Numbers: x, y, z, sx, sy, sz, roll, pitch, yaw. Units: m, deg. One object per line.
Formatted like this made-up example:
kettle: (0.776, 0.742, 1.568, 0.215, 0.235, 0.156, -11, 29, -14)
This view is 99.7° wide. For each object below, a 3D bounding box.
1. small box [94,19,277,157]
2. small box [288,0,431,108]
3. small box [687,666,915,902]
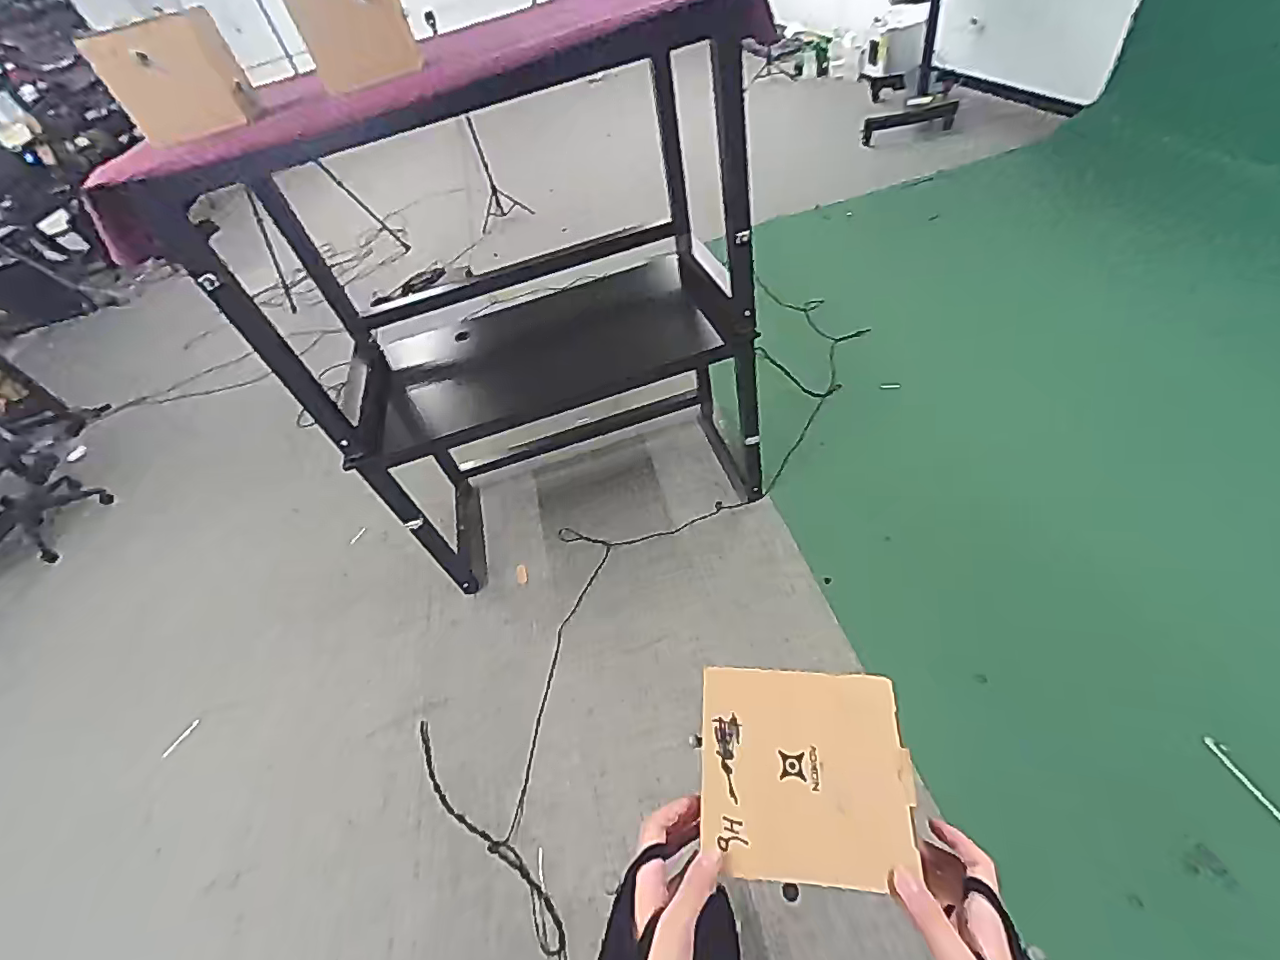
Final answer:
small box: (-0.831, -0.730, 1.011, 0.179, 0.176, 0.168, -19, 46, -5)
small box: (-0.518, -0.840, 1.029, 0.179, 0.176, 0.168, -18, 45, -1)
small box: (0.138, 0.296, 0.530, 0.179, 0.176, 0.168, 2, 54, 7)
